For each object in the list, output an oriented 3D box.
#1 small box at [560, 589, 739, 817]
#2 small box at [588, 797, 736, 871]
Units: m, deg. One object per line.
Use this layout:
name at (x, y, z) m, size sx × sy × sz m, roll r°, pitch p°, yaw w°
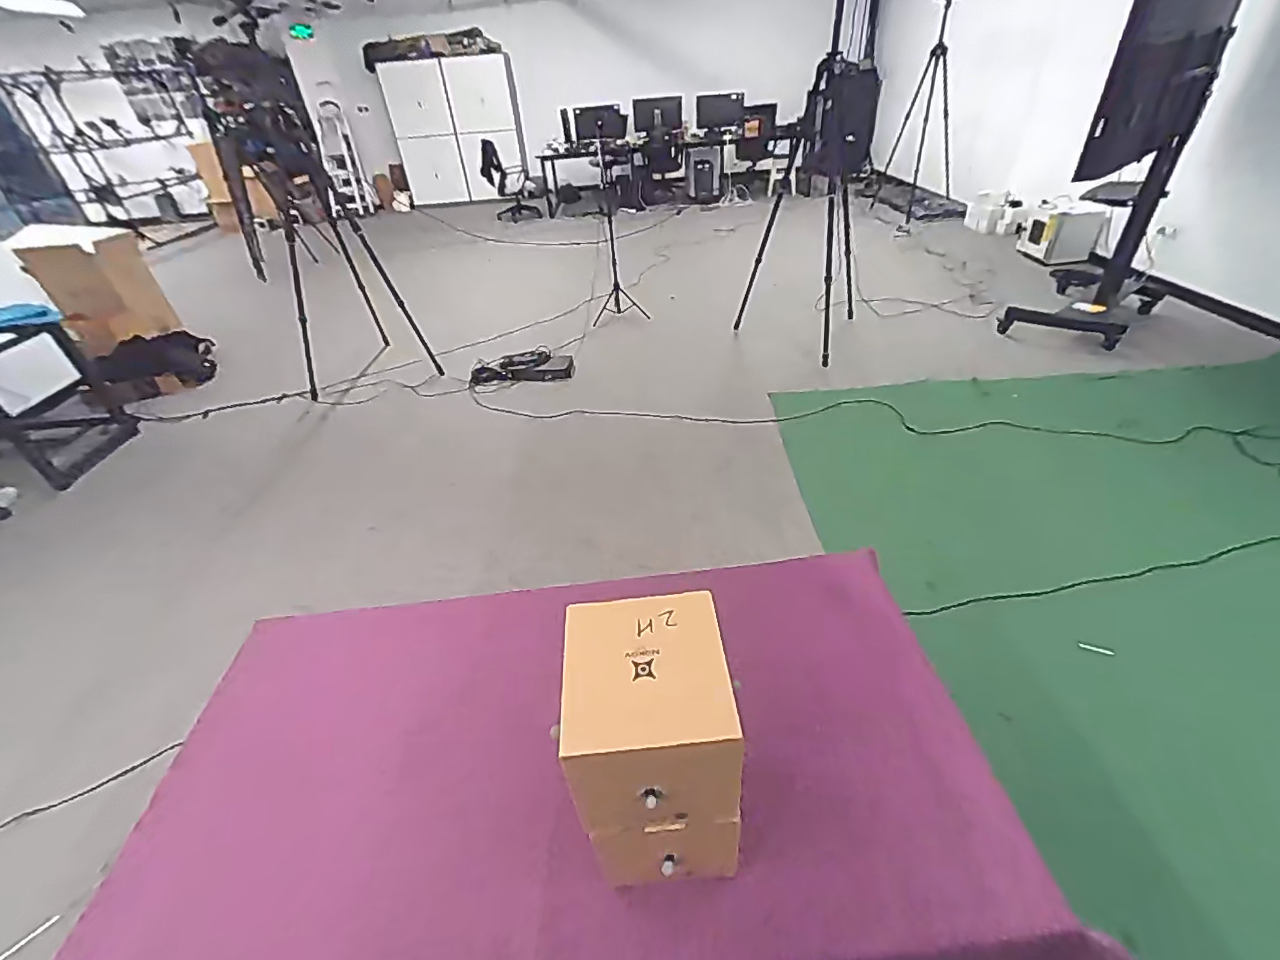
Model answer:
small box at (0.012, 0.247, 0.594) m, size 0.168 × 0.176 × 0.179 m, roll -5°, pitch 37°, yaw 0°
small box at (0.027, 0.377, 0.695) m, size 0.168 × 0.176 × 0.179 m, roll -5°, pitch 38°, yaw 0°
